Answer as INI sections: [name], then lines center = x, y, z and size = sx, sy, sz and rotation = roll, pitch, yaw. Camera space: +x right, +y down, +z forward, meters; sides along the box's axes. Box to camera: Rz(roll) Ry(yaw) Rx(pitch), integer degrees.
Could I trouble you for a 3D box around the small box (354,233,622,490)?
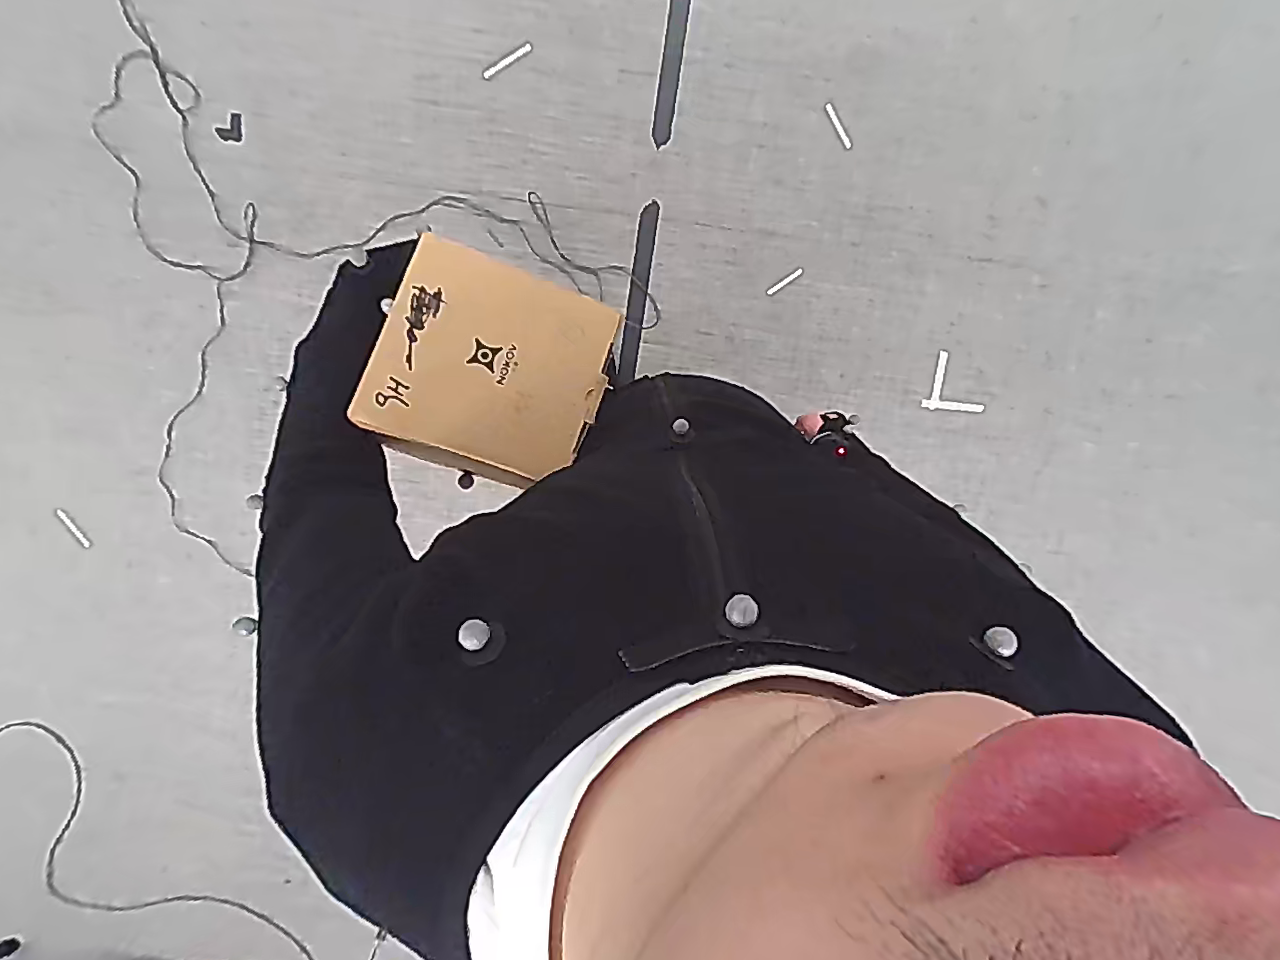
[small box]
center = -0.139, -0.093, 0.523
size = 0.179, 0.176, 0.168
rotation = 19, 80, -13
